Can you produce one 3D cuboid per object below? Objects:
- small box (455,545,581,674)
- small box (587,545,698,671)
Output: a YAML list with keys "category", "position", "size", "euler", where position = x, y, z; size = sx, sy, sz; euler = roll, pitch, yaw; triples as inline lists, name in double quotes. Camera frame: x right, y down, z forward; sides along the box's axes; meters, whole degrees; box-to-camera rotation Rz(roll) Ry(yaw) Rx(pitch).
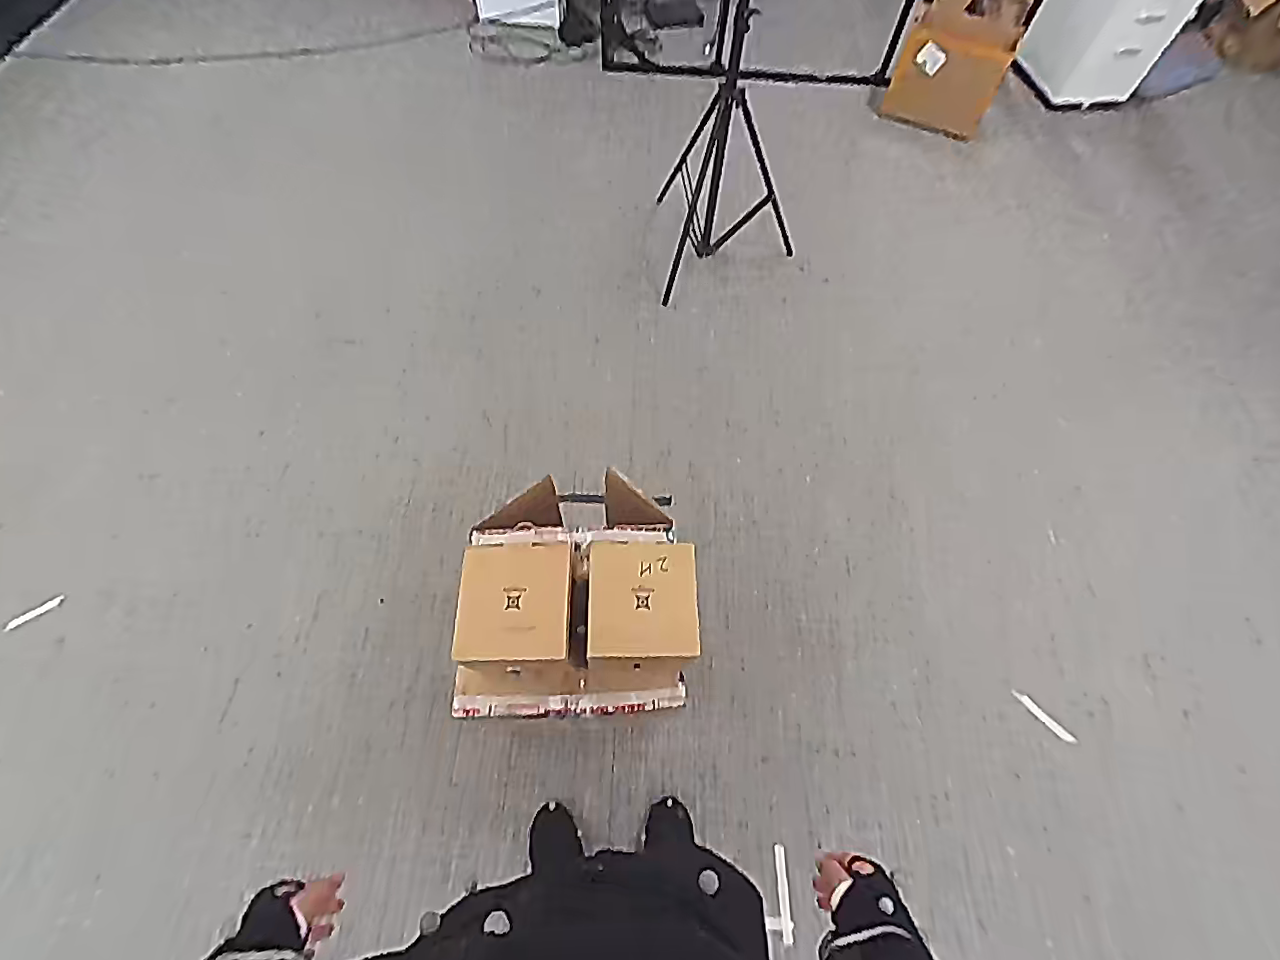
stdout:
- category: "small box"
  position: [-0.187, 0.215, 0.883]
  size: [0.168, 0.176, 0.179]
  euler: [-2, 66, -1]
- category: "small box"
  position: [0.001, 0.216, 0.889]
  size: [0.168, 0.176, 0.179]
  euler: [1, 64, -4]
